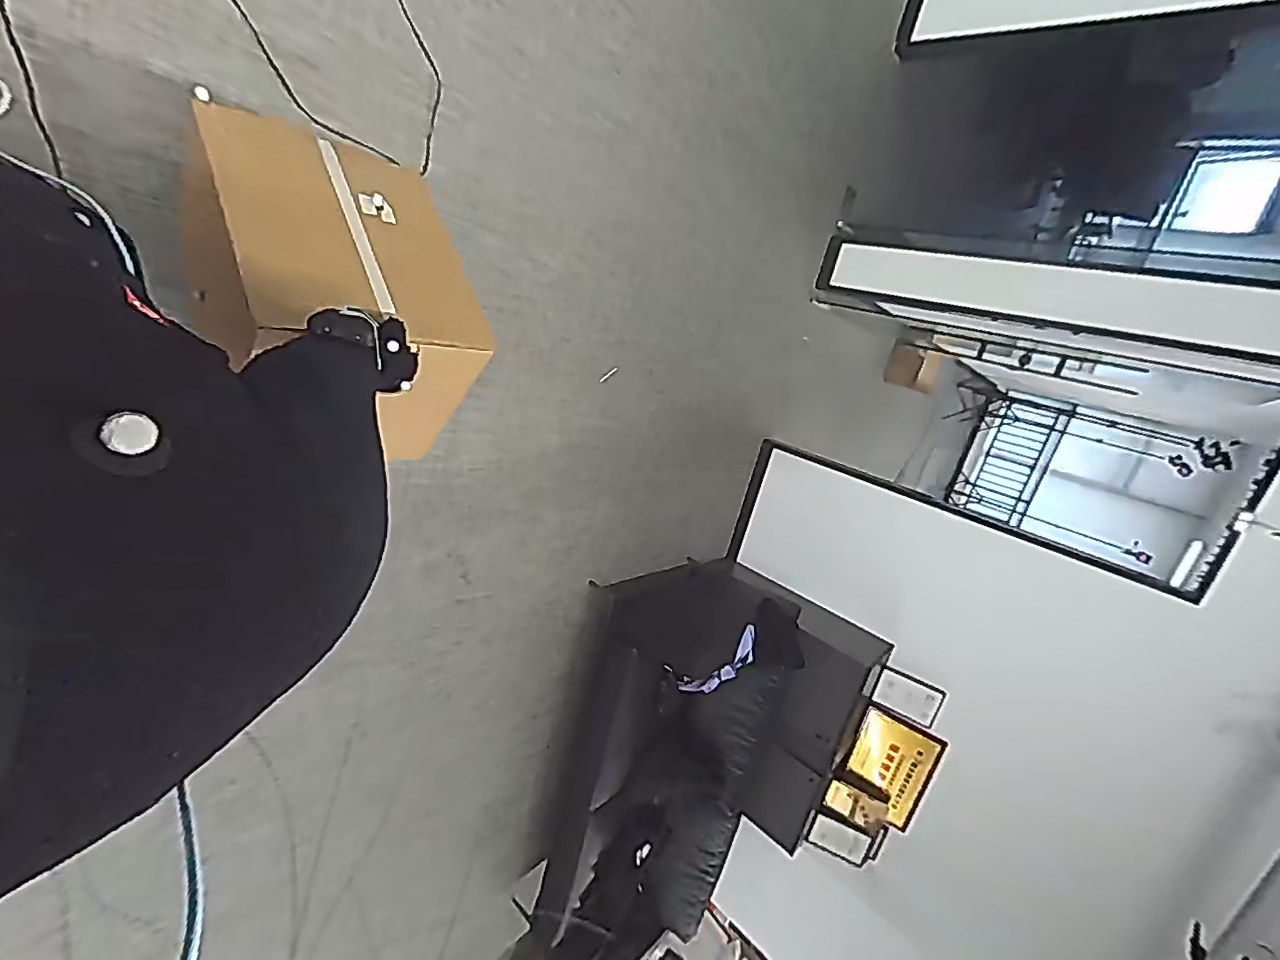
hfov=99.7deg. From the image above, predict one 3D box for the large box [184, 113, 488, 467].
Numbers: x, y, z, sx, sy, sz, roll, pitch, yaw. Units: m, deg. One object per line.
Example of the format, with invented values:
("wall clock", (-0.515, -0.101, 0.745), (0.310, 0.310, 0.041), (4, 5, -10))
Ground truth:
("large box", (-0.512, -0.276, 0.889), (0.320, 0.408, 0.320), (-7, 154, -47))
